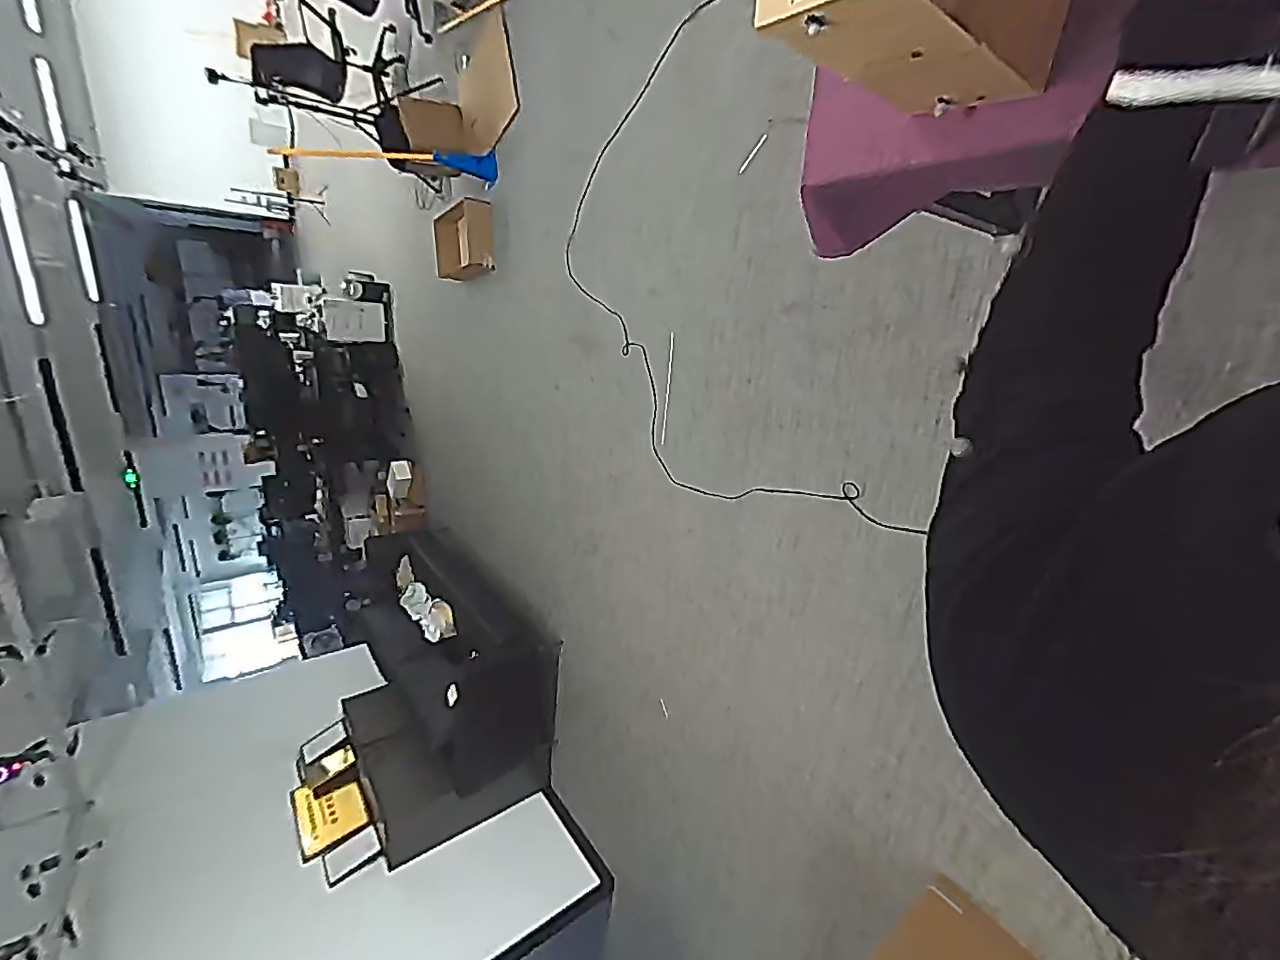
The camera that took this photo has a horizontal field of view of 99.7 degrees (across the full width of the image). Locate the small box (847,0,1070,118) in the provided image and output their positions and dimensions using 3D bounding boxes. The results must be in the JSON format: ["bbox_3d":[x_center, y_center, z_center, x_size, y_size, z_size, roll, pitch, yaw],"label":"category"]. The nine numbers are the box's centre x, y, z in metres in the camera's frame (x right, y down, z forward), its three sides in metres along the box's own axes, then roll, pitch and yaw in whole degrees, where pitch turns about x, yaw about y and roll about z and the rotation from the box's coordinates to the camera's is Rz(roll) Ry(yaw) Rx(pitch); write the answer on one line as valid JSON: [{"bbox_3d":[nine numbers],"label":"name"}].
[{"bbox_3d":[0.378,-0.556,0.632,0.168,0.176,0.179,30,120,47],"label":"small box"}]

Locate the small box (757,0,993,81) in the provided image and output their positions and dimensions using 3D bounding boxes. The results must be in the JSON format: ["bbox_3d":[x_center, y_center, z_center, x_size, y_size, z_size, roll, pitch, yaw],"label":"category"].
[{"bbox_3d":[0.246,-0.537,0.534,0.168,0.176,0.179,30,119,48],"label":"small box"}]
